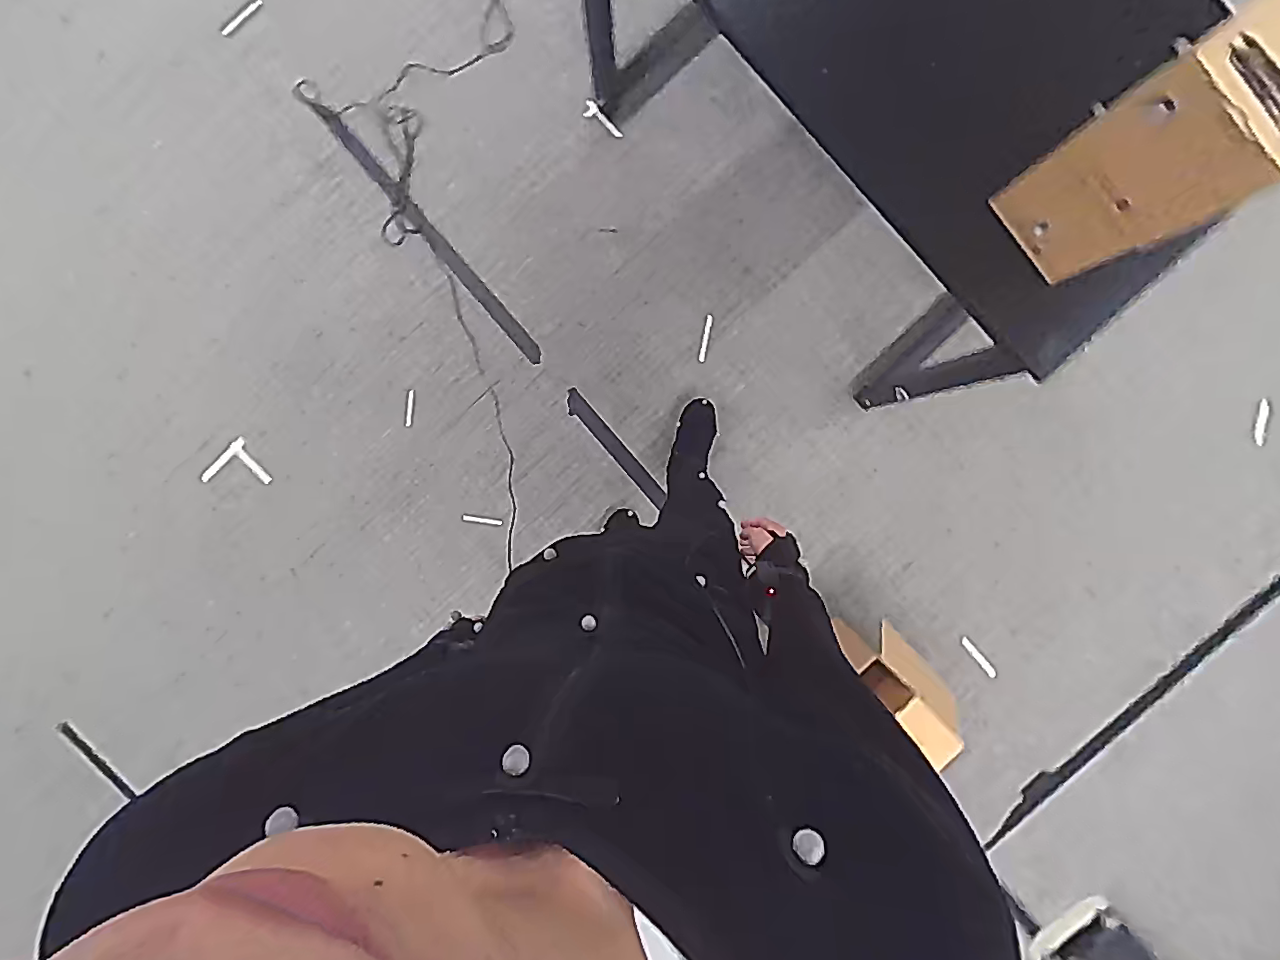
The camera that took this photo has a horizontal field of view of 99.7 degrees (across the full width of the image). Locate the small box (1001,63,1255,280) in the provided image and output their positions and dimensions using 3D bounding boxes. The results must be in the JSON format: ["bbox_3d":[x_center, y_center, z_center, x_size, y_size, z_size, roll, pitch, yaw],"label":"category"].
[{"bbox_3d":[0.680,-0.425,0.778,0.179,0.176,0.168,-37,91,1],"label":"small box"}]
